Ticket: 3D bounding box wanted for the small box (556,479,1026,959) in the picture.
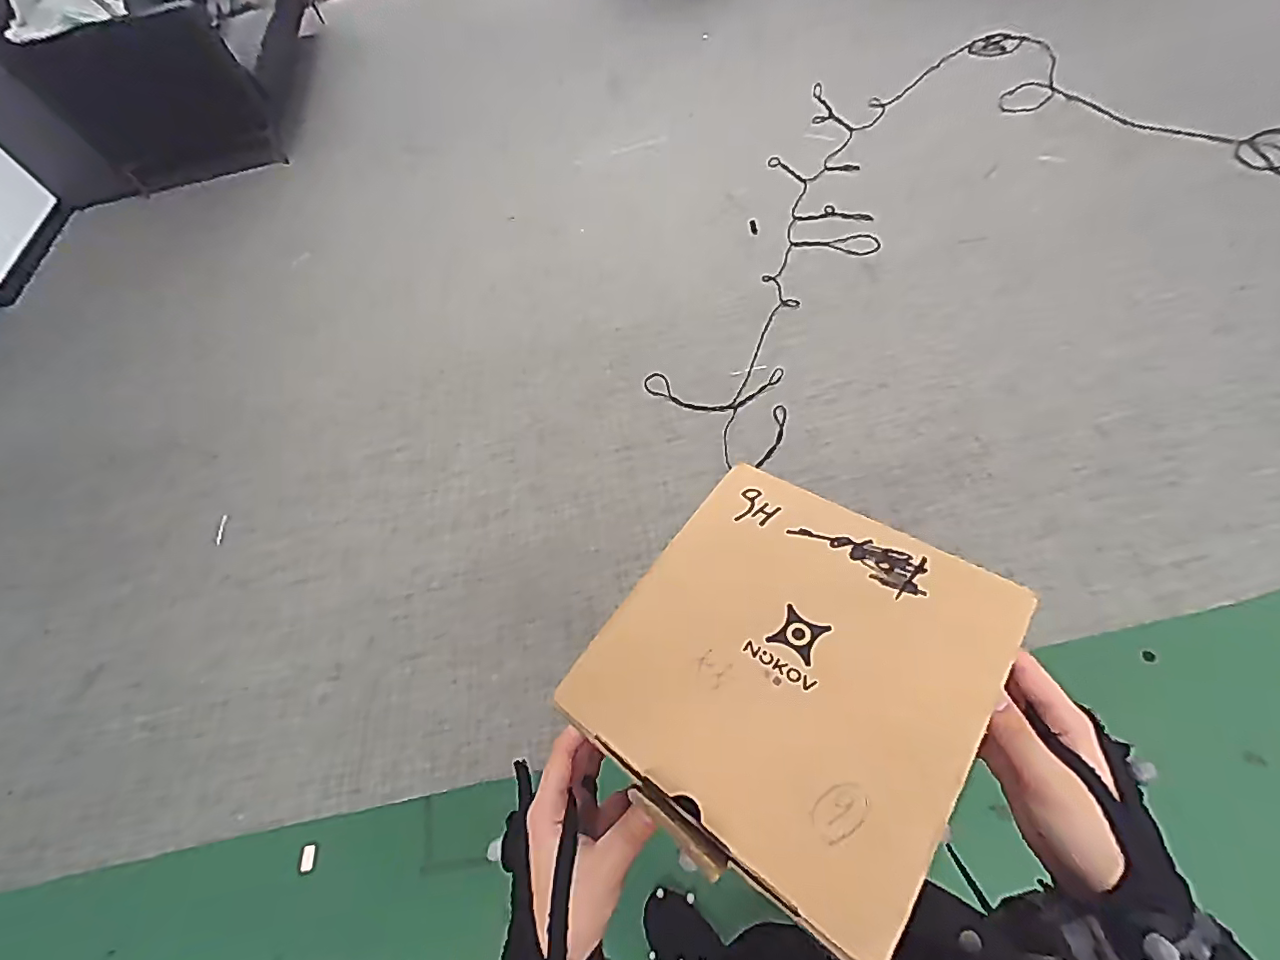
[{"bbox_3d":[0.086,0.138,0.325,0.168,0.176,0.179,27,64,30],"label":"small box"}]
